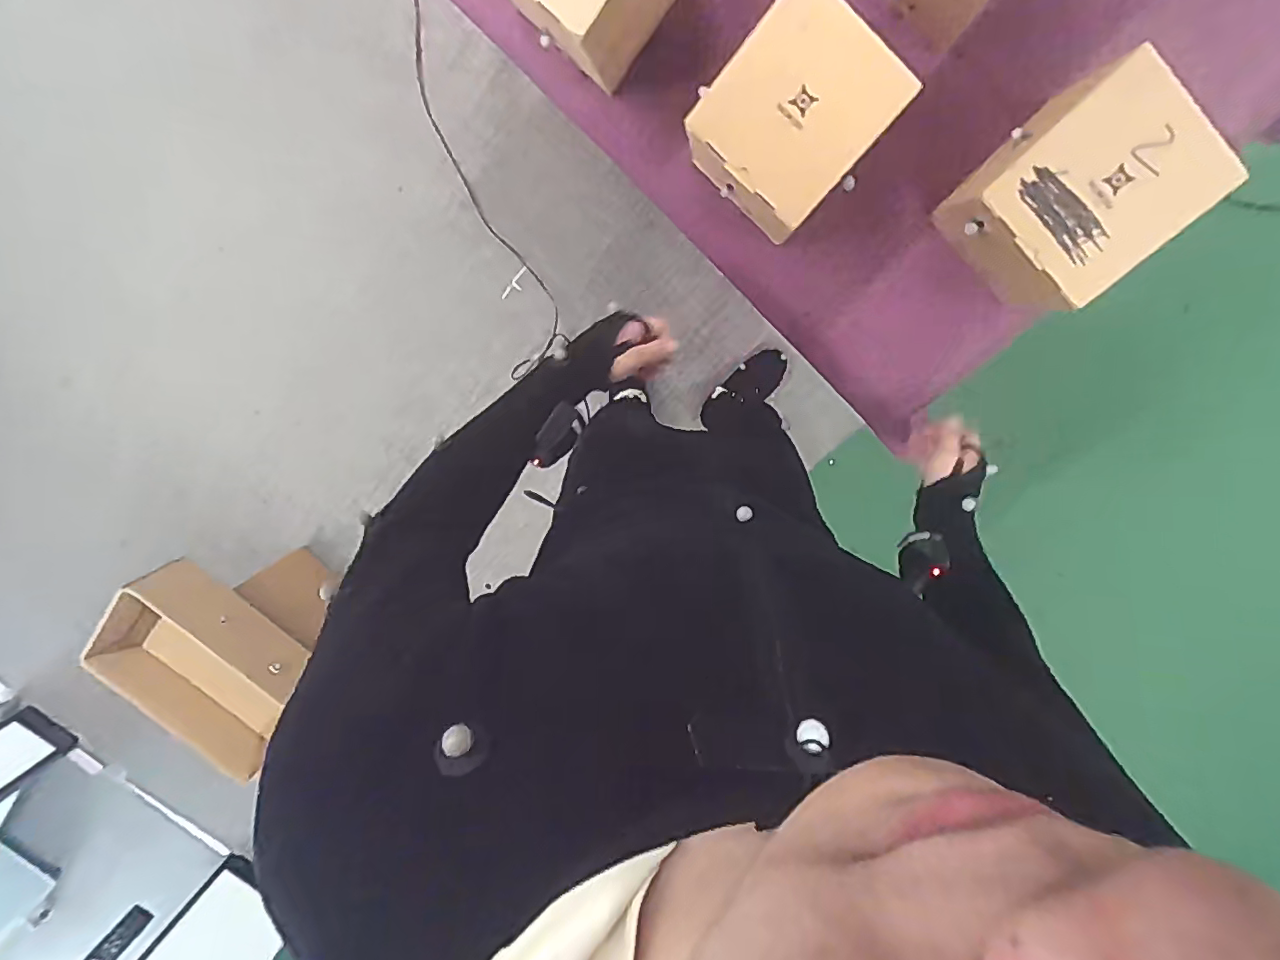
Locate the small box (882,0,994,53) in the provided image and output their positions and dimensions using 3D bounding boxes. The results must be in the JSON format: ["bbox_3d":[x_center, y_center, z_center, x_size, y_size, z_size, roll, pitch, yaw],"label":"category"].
[{"bbox_3d":[0.345,-0.595,0.543,0.168,0.176,0.179,41,112,-5],"label":"small box"}]

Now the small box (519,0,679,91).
[{"bbox_3d":[-0.052,-0.596,0.607,0.168,0.176,0.179,42,110,-6],"label":"small box"}]

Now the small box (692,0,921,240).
[{"bbox_3d":[0.179,-0.411,0.636,0.168,0.176,0.179,42,110,-6],"label":"small box"}]
